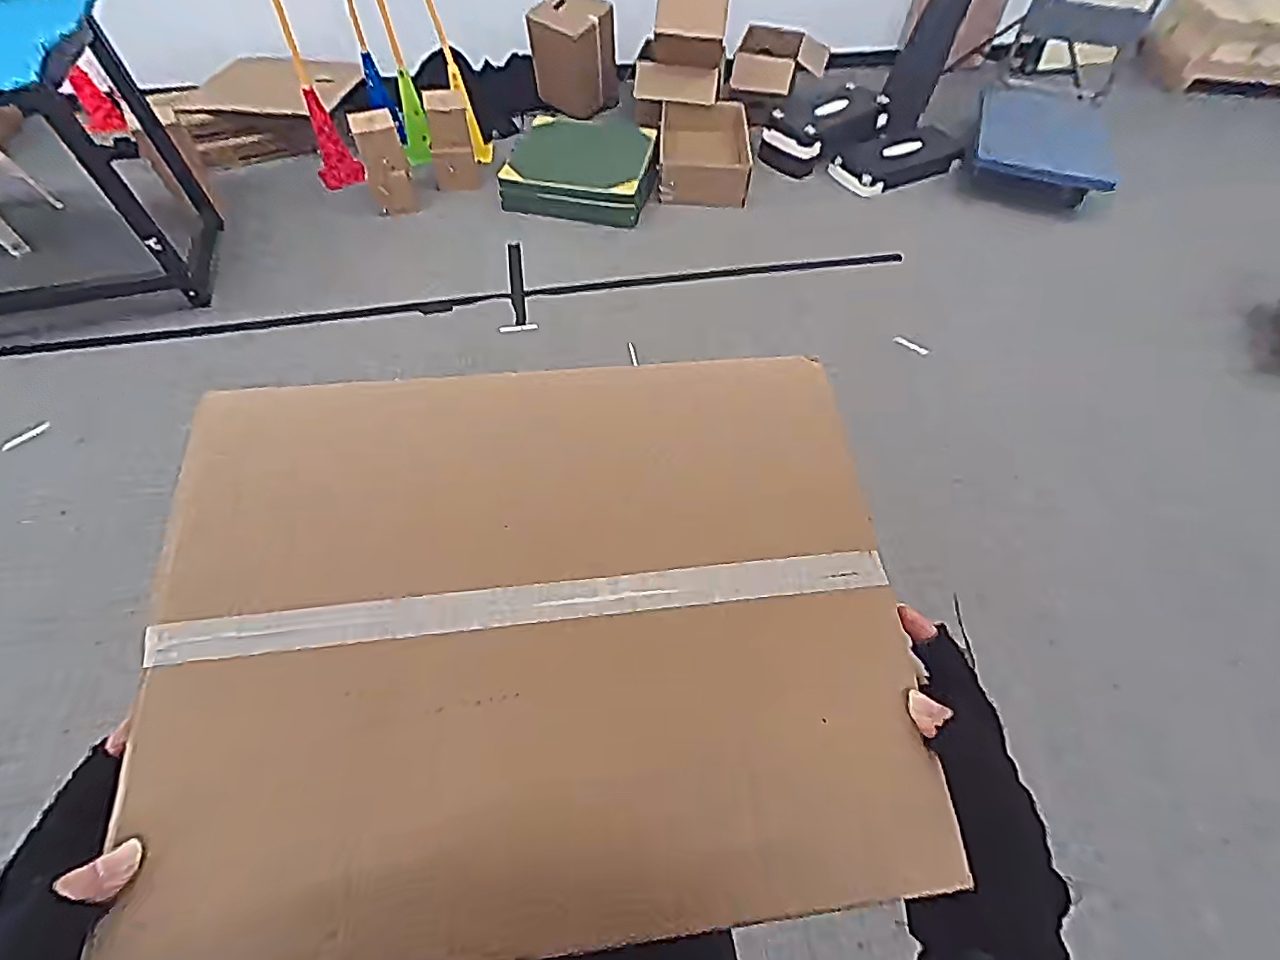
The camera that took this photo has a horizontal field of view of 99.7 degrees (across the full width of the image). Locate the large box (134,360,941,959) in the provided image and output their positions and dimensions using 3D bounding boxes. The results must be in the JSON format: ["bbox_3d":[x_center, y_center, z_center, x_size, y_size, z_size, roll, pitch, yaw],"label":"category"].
[{"bbox_3d":[-0.064,0.129,0.457,0.408,0.320,0.320,-5,68,-6],"label":"large box"}]
